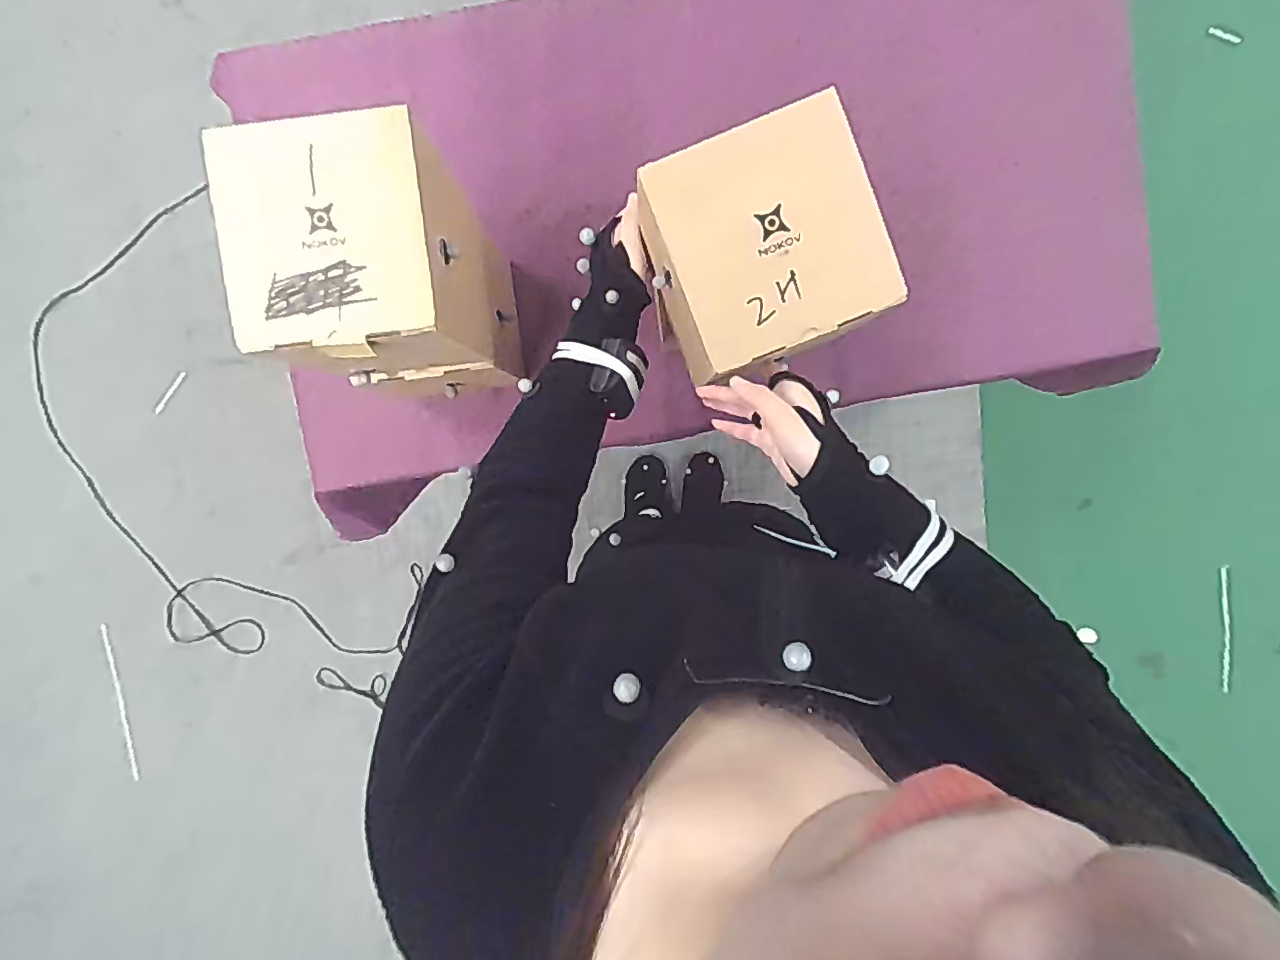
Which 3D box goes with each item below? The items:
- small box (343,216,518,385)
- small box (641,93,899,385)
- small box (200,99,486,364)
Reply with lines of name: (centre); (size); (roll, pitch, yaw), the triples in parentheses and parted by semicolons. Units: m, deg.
small box: (-0.256, -0.214, 0.669); (0.168, 0.176, 0.179); (-6, 95, -1)
small box: (0.103, -0.201, 0.507); (0.168, 0.176, 0.179); (-20, 95, 2)
small box: (-0.253, -0.208, 0.504); (0.168, 0.176, 0.179); (-6, 94, 0)
